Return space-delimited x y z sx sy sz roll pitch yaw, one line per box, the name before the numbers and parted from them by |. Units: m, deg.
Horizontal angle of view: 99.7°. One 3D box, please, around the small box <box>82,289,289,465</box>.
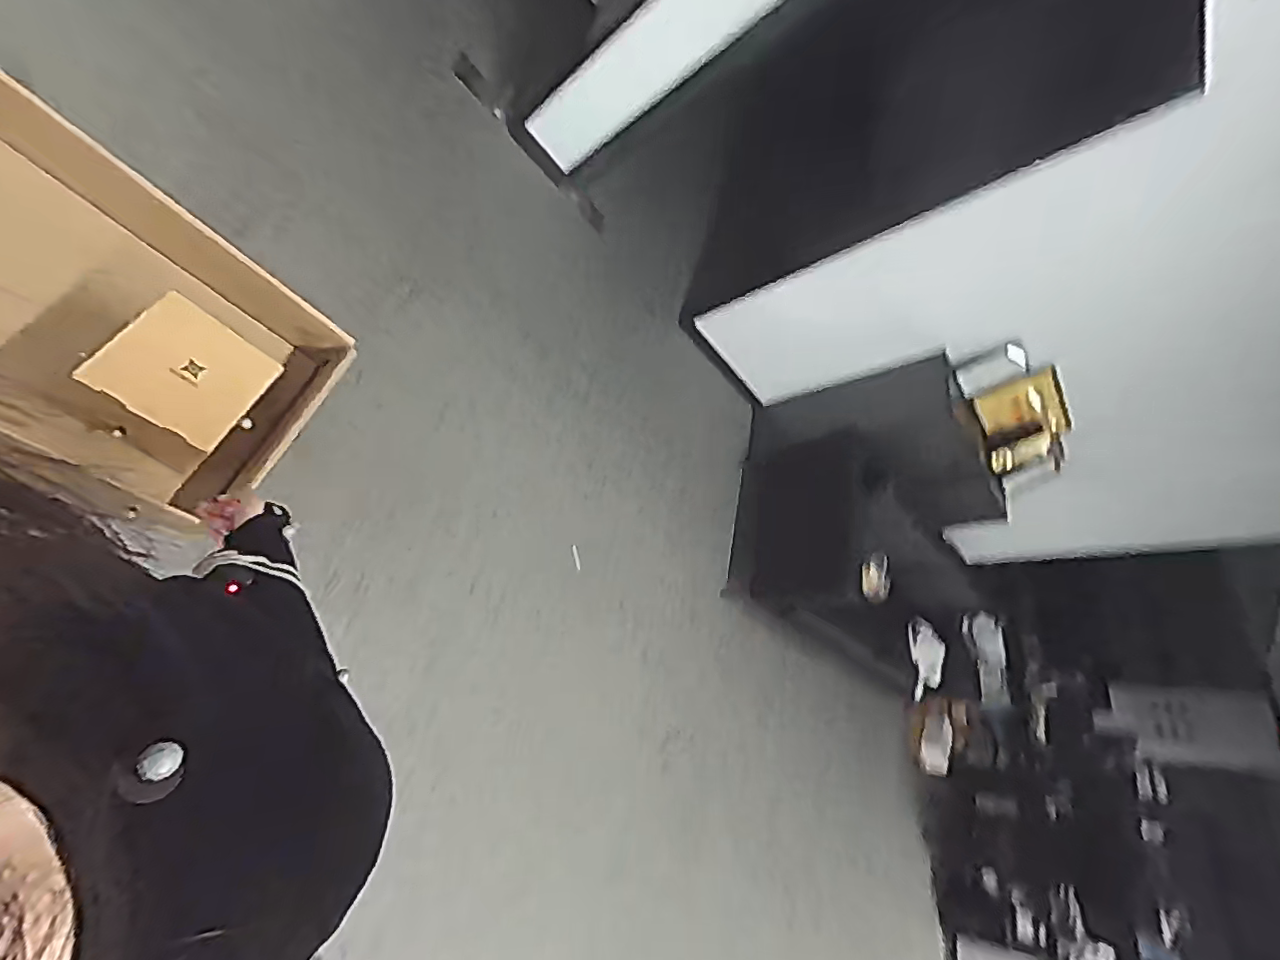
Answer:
small box | -0.684 -0.145 0.815 0.168 0.176 0.179 43 52 -34
